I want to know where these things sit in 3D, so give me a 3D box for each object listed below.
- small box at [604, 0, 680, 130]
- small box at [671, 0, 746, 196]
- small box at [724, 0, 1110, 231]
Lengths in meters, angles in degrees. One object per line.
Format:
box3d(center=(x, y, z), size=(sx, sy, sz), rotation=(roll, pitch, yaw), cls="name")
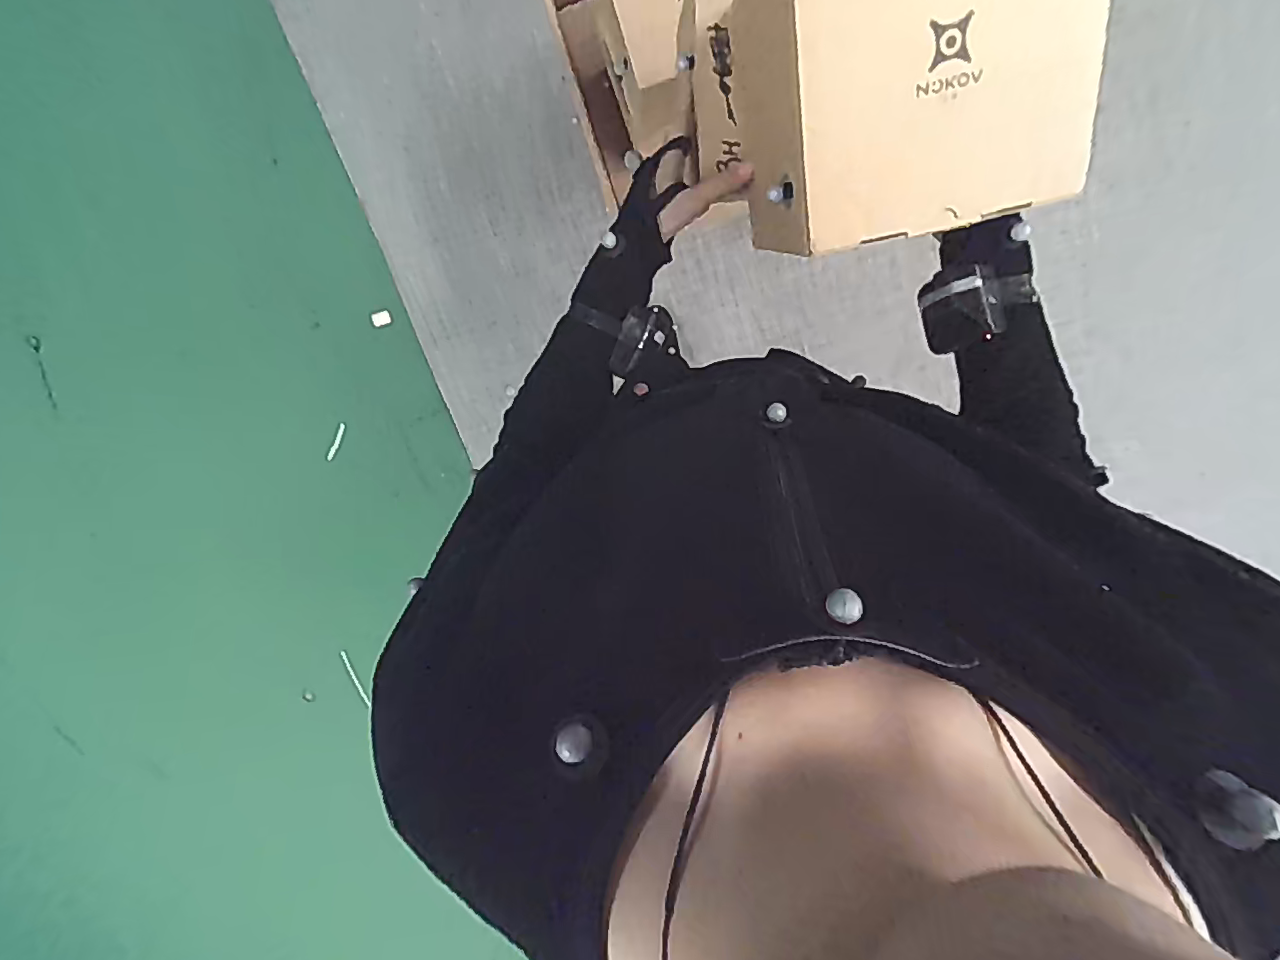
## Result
box3d(center=(0.052, -0.576, 0.681), size=(0.168, 0.176, 0.179), rotation=(-18, 103, 6), cls="small box")
box3d(center=(0.125, -0.361, 0.492), size=(0.179, 0.176, 0.168), rotation=(-4, 114, 2), cls="small box")
box3d(center=(0.157, -0.271, 0.352), size=(0.168, 0.176, 0.179), rotation=(-12, 115, 5), cls="small box")
